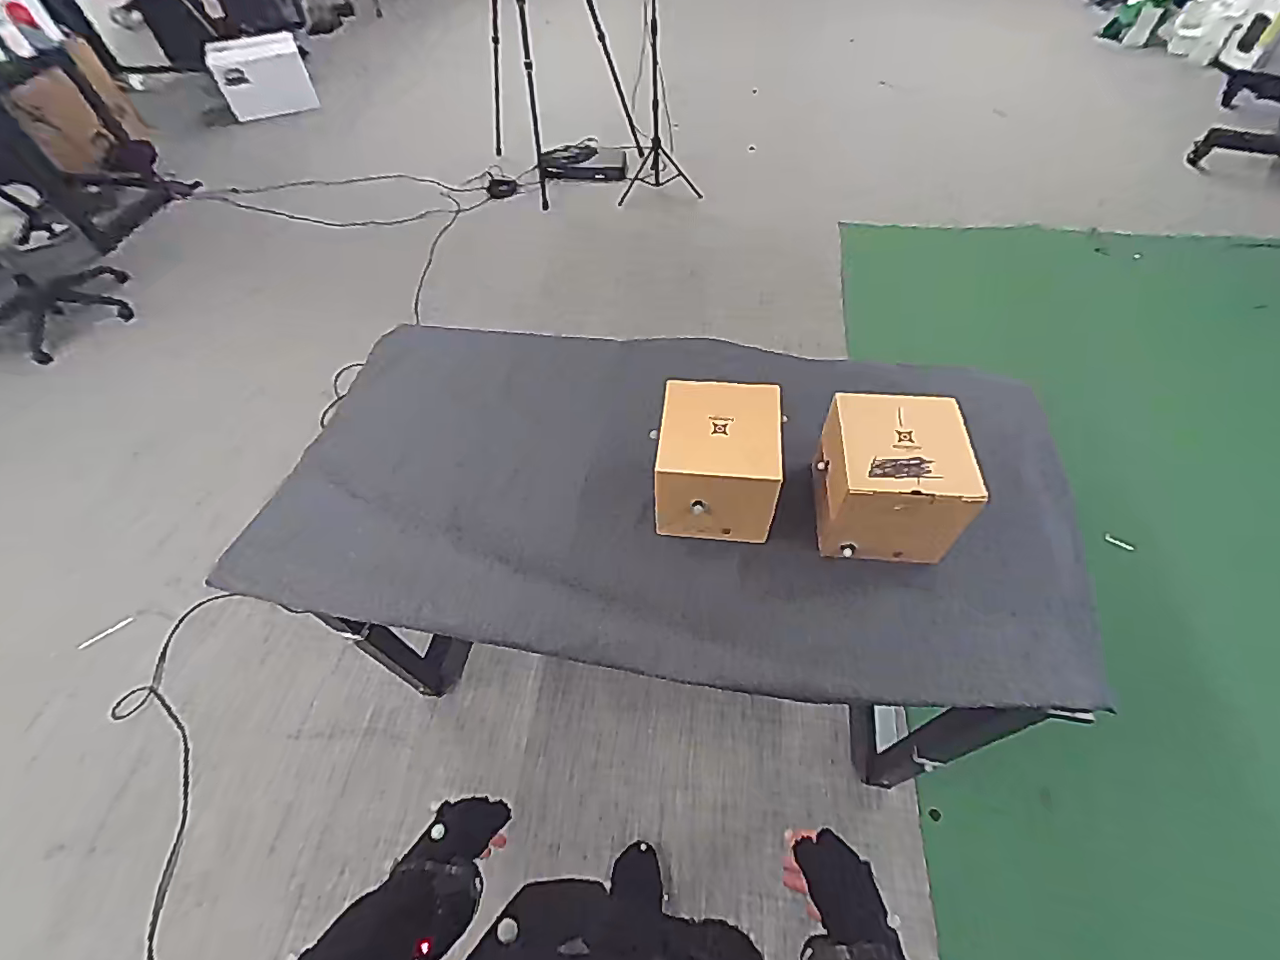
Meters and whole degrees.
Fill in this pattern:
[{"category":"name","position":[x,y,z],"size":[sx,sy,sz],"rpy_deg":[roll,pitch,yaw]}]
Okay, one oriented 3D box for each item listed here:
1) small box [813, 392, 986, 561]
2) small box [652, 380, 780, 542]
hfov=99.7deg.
[{"category":"small box","position":[0.349,-0.002,0.767],"size":[0.168,0.176,0.179],"rpy_deg":[4,53,6]},{"category":"small box","position":[0.112,-0.025,0.801],"size":[0.168,0.176,0.179],"rpy_deg":[4,53,6]}]
